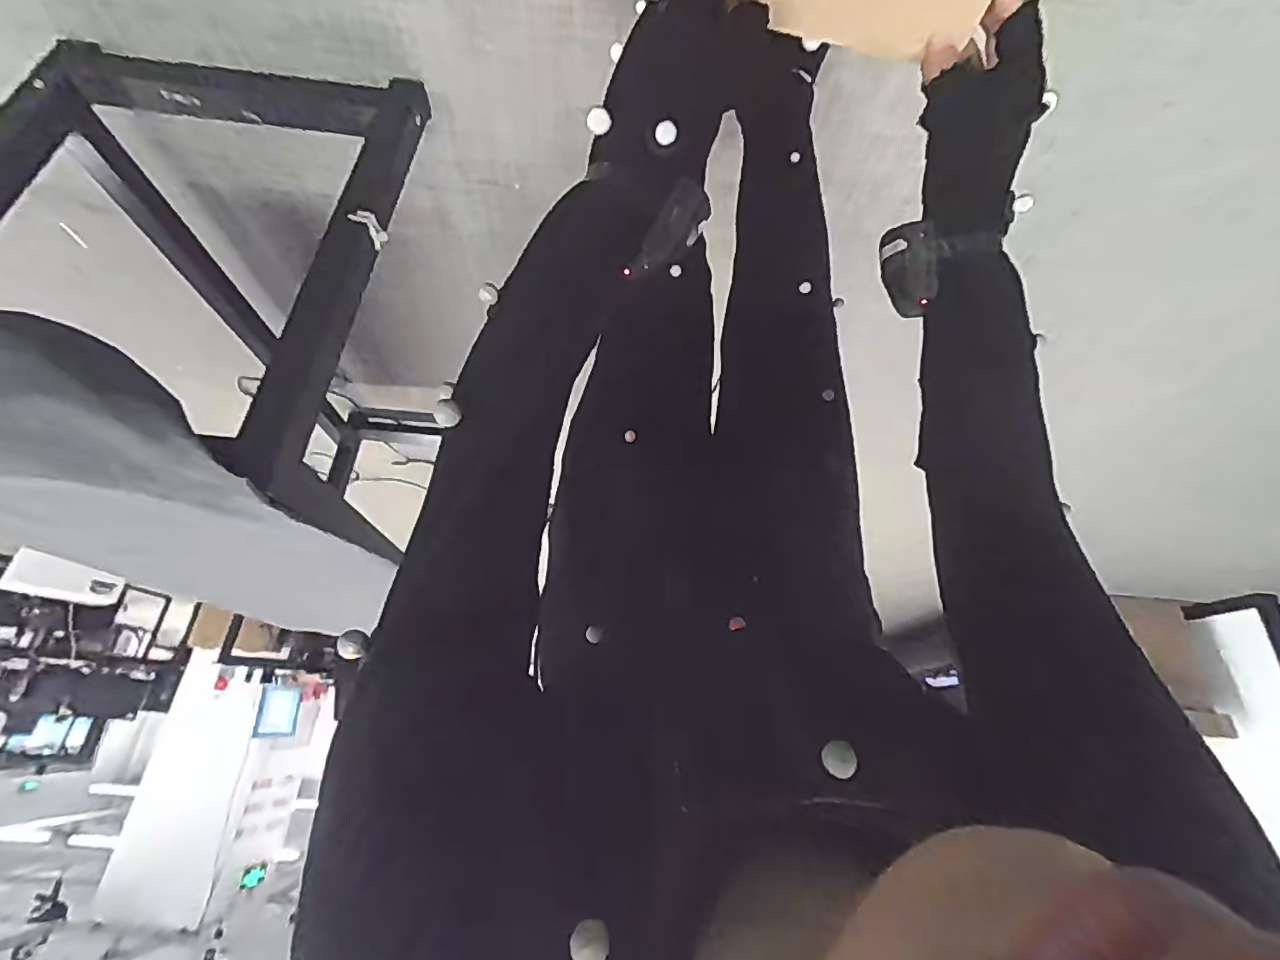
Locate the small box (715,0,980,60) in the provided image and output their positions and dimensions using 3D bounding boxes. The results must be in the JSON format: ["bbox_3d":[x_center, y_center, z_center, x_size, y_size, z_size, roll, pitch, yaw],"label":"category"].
[{"bbox_3d":[0.148,-0.416,0.345,0.179,0.176,0.168,5,149,-9],"label":"small box"}]
